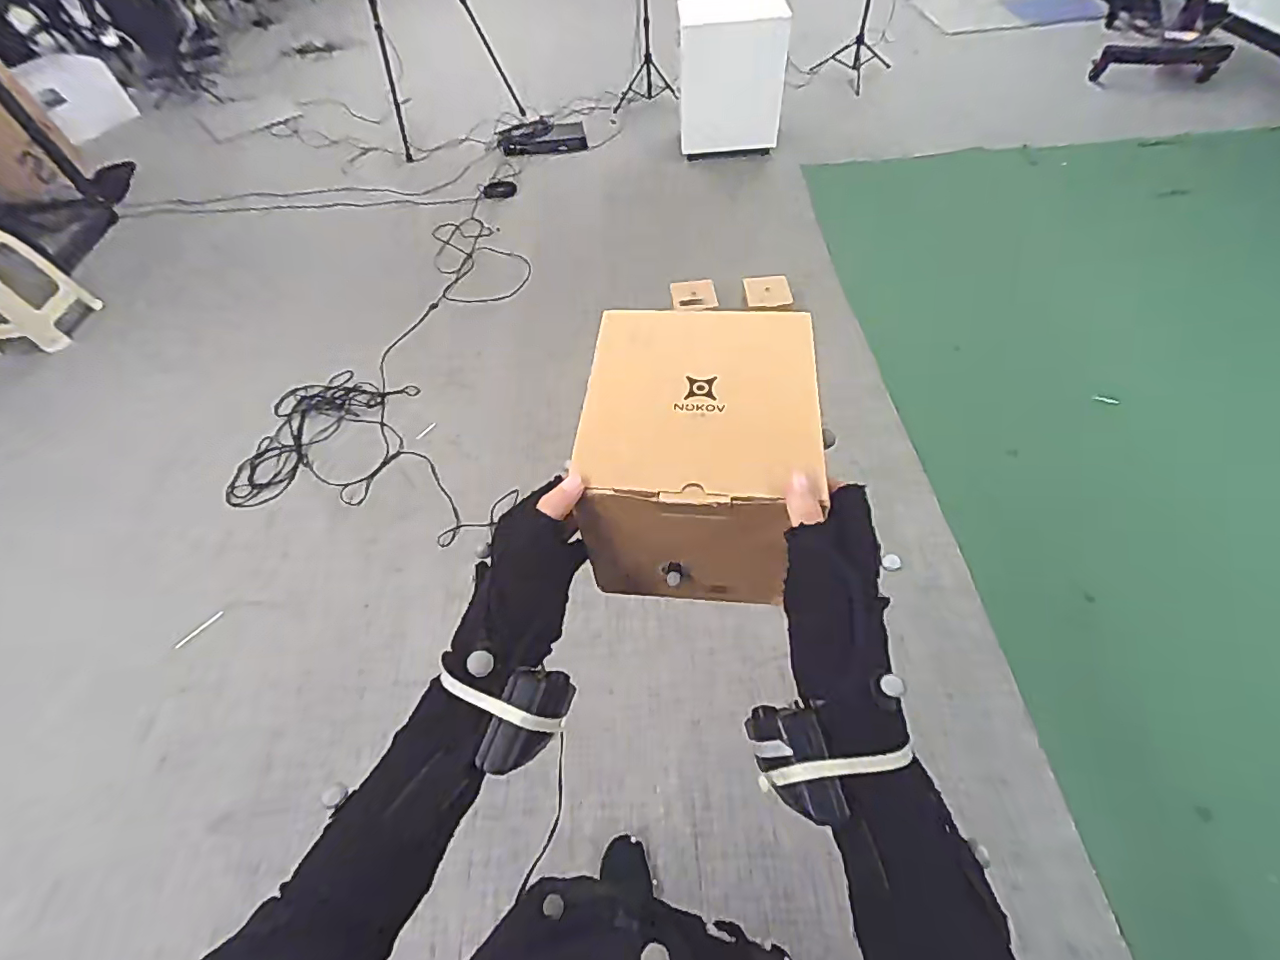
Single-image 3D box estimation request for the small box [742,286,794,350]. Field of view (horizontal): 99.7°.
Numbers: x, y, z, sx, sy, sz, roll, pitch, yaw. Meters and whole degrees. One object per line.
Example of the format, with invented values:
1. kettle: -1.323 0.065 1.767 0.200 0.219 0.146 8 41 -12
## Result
1. small box: 0.495 -0.632 2.117 0.168 0.176 0.179 -4 55 3
